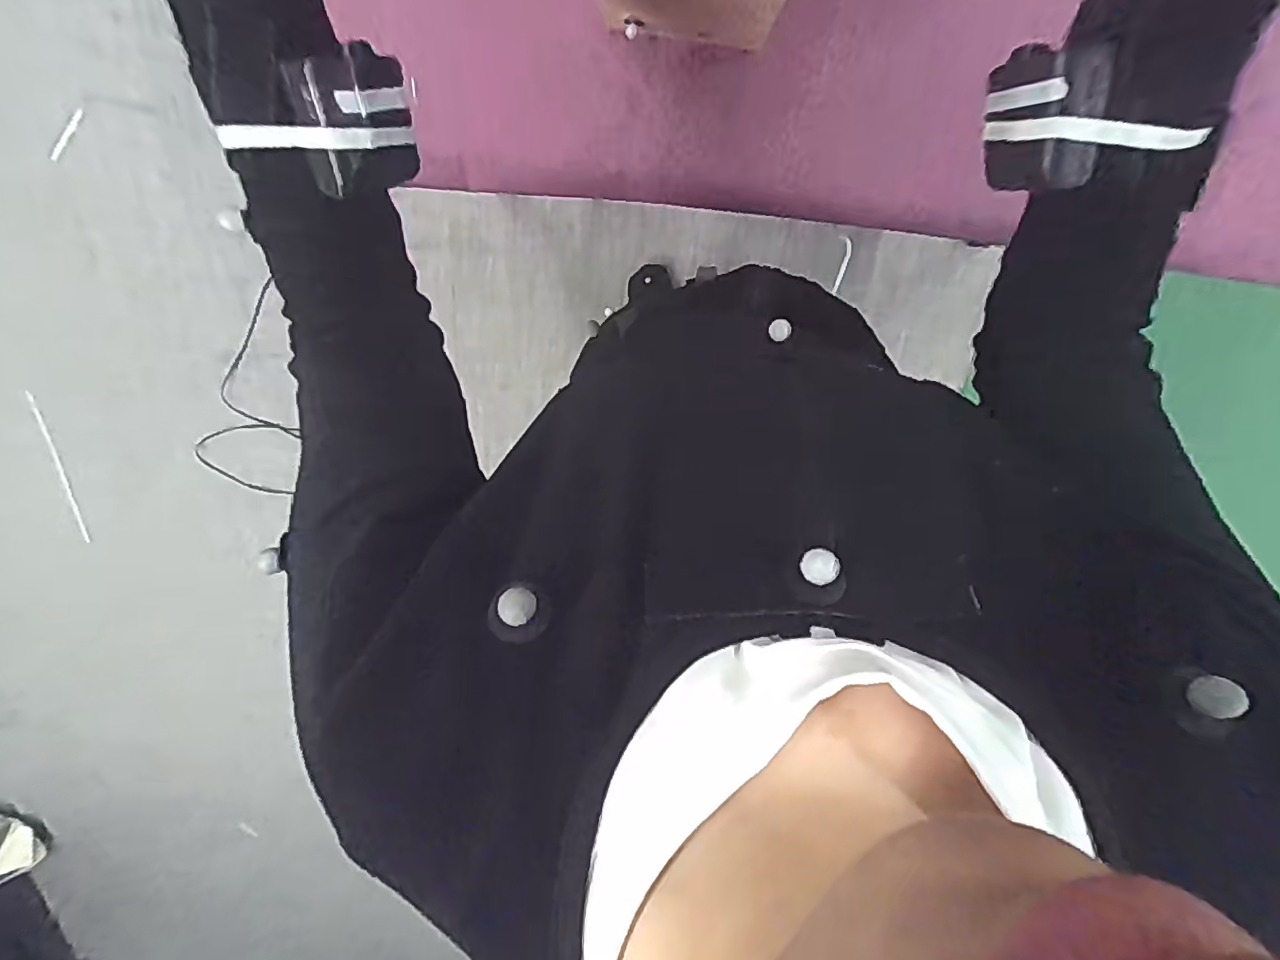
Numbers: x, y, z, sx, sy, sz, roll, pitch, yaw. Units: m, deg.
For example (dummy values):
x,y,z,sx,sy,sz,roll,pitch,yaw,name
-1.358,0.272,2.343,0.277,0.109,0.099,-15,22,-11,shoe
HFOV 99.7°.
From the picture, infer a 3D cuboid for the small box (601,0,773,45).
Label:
x,y,z,sx,sy,sz,roll,pitch,yaw,name
0.050,-0.509,0.459,0.168,0.176,0.179,7,111,-2,small box
